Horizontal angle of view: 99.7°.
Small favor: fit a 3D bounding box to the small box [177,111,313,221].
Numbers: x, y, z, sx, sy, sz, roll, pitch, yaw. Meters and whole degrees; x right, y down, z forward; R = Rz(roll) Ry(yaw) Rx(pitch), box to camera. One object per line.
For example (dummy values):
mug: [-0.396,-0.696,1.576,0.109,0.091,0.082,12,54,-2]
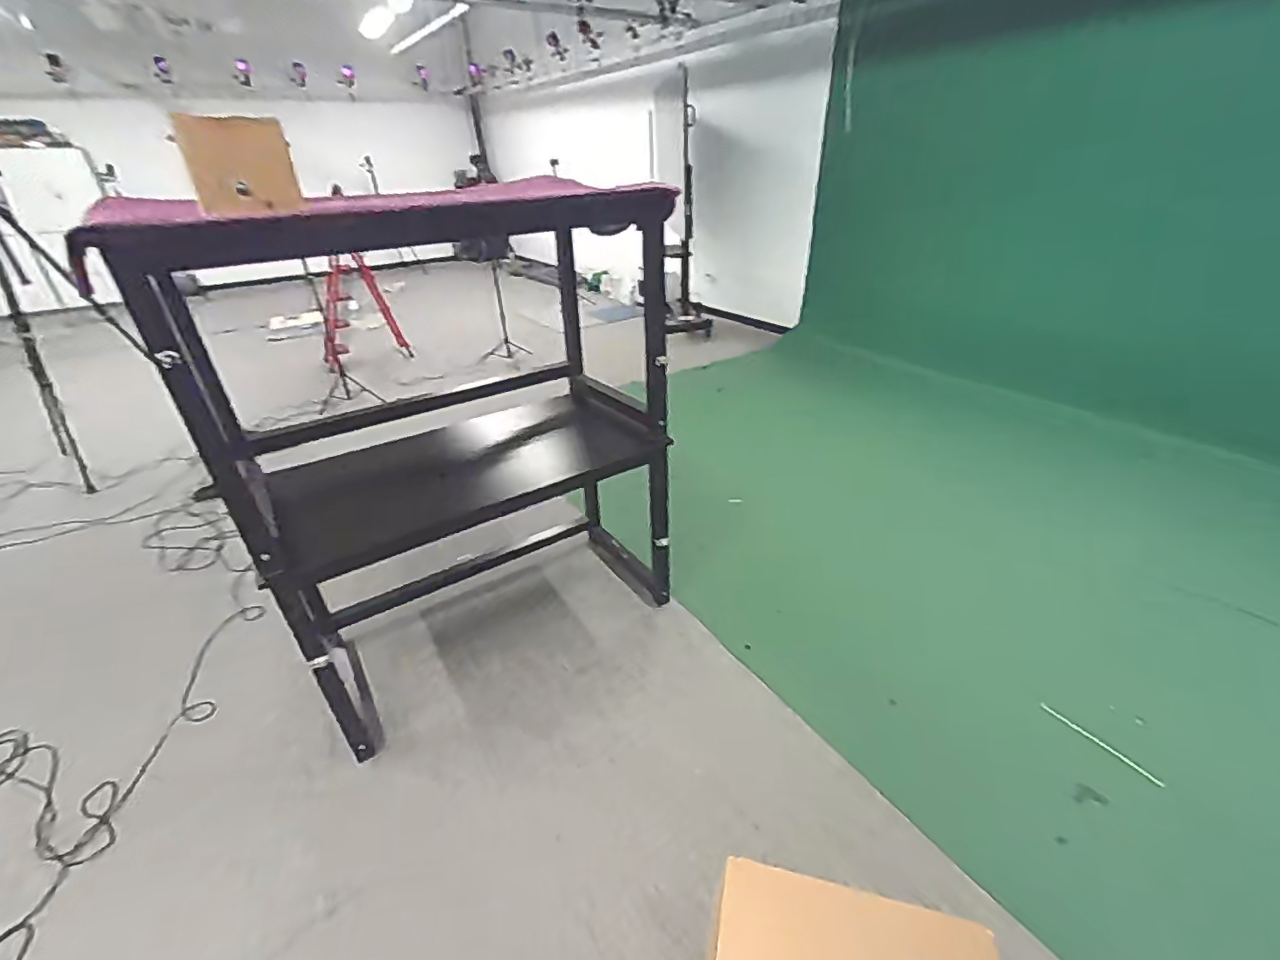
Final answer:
small box: [-0.759,-0.598,1.045,0.168,0.176,0.179,-22,35,-31]
